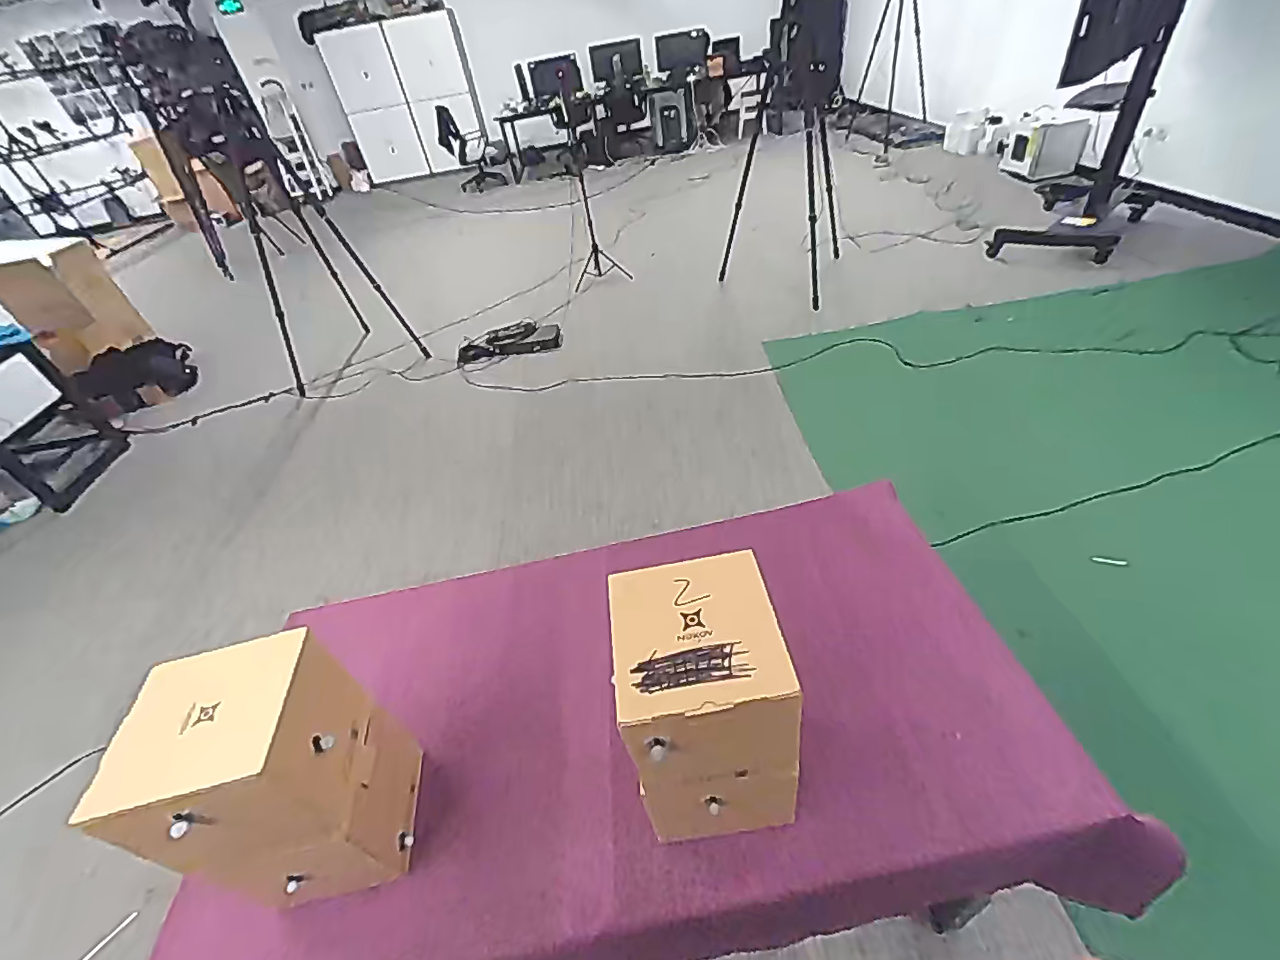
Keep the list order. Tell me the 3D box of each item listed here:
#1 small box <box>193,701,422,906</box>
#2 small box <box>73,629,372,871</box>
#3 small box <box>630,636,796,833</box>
[{"bbox_3d":[-0.407,0.420,0.704,0.179,0.176,0.168,-15,41,-2],"label":"small box"},{"bbox_3d":[-0.428,0.298,0.599,0.179,0.176,0.168,-15,41,-3],"label":"small box"},{"bbox_3d":[0.091,0.328,0.692,0.179,0.176,0.168,-10,42,2],"label":"small box"}]
